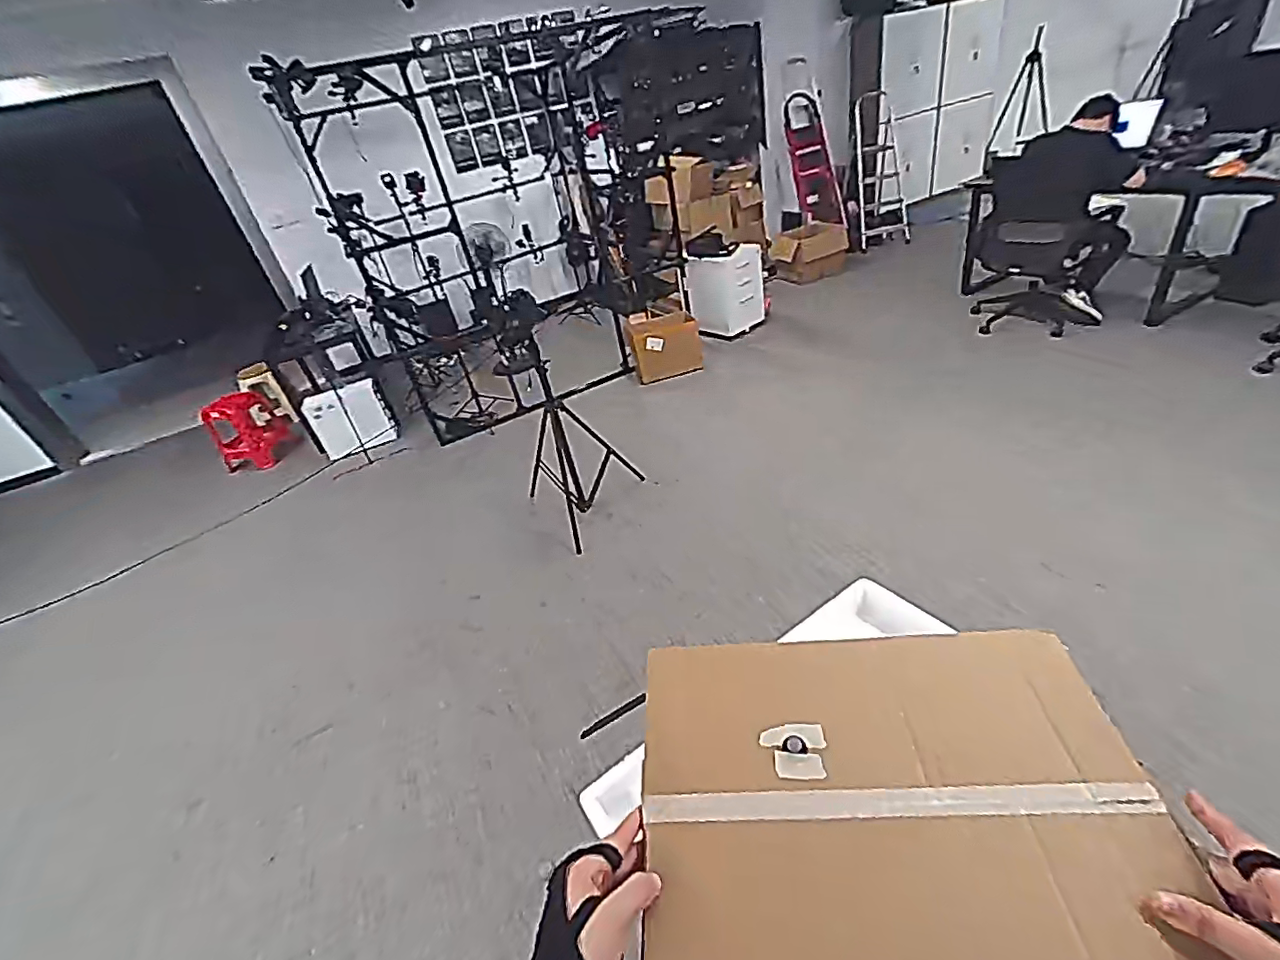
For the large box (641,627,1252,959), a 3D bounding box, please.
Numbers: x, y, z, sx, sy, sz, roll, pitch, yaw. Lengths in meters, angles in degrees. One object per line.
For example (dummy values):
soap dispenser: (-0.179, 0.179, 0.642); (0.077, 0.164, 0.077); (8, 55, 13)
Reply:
large box: (0.224, 0.379, 0.535); (0.408, 0.320, 0.320); (-7, 39, 7)
